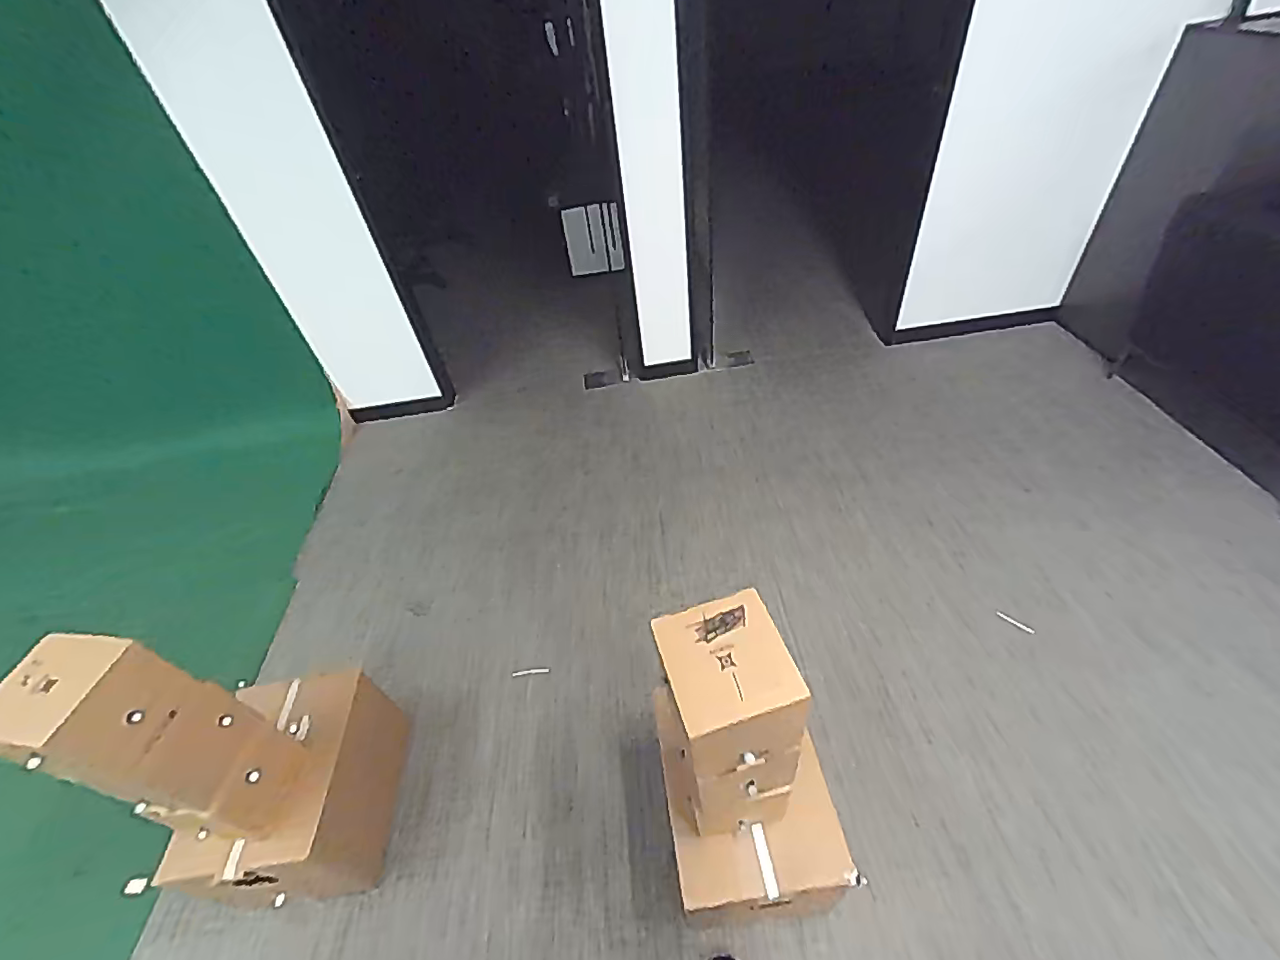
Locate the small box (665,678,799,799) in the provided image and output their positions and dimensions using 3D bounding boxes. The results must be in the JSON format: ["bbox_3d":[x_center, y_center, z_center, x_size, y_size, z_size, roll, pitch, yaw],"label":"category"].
[{"bbox_3d":[0.149,0.406,0.900,0.168,0.176,0.179,-16,46,-5],"label":"small box"}]

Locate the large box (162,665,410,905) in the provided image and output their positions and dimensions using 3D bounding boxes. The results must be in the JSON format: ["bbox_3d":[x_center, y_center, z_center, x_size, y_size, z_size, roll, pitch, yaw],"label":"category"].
[{"bbox_3d":[-0.798,0.727,1.303,0.320,0.320,0.408,-9,44,0],"label":"large box"}]

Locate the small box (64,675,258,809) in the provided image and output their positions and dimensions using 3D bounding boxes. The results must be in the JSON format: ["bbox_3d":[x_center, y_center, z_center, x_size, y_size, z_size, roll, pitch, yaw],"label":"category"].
[{"bbox_3d":[-0.850,0.474,0.988,0.168,0.176,0.179,0,47,11],"label":"small box"}]

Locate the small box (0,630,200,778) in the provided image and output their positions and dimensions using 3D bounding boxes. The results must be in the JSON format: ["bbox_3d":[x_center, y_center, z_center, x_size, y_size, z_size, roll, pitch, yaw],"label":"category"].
[{"bbox_3d":[-0.878,0.362,0.870,0.179,0.176,0.168,1,46,11],"label":"small box"}]

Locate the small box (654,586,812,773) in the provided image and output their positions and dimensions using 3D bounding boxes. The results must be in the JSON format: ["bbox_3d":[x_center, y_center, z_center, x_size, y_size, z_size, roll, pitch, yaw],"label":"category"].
[{"bbox_3d":[0.127,0.290,0.785,0.168,0.176,0.179,-17,46,-6],"label":"small box"}]

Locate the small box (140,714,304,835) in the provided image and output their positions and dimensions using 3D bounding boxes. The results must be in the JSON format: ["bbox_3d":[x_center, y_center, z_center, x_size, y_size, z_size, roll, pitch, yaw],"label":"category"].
[{"bbox_3d":[-0.826,0.593,1.096,0.168,0.176,0.179,-2,46,8],"label":"small box"}]
